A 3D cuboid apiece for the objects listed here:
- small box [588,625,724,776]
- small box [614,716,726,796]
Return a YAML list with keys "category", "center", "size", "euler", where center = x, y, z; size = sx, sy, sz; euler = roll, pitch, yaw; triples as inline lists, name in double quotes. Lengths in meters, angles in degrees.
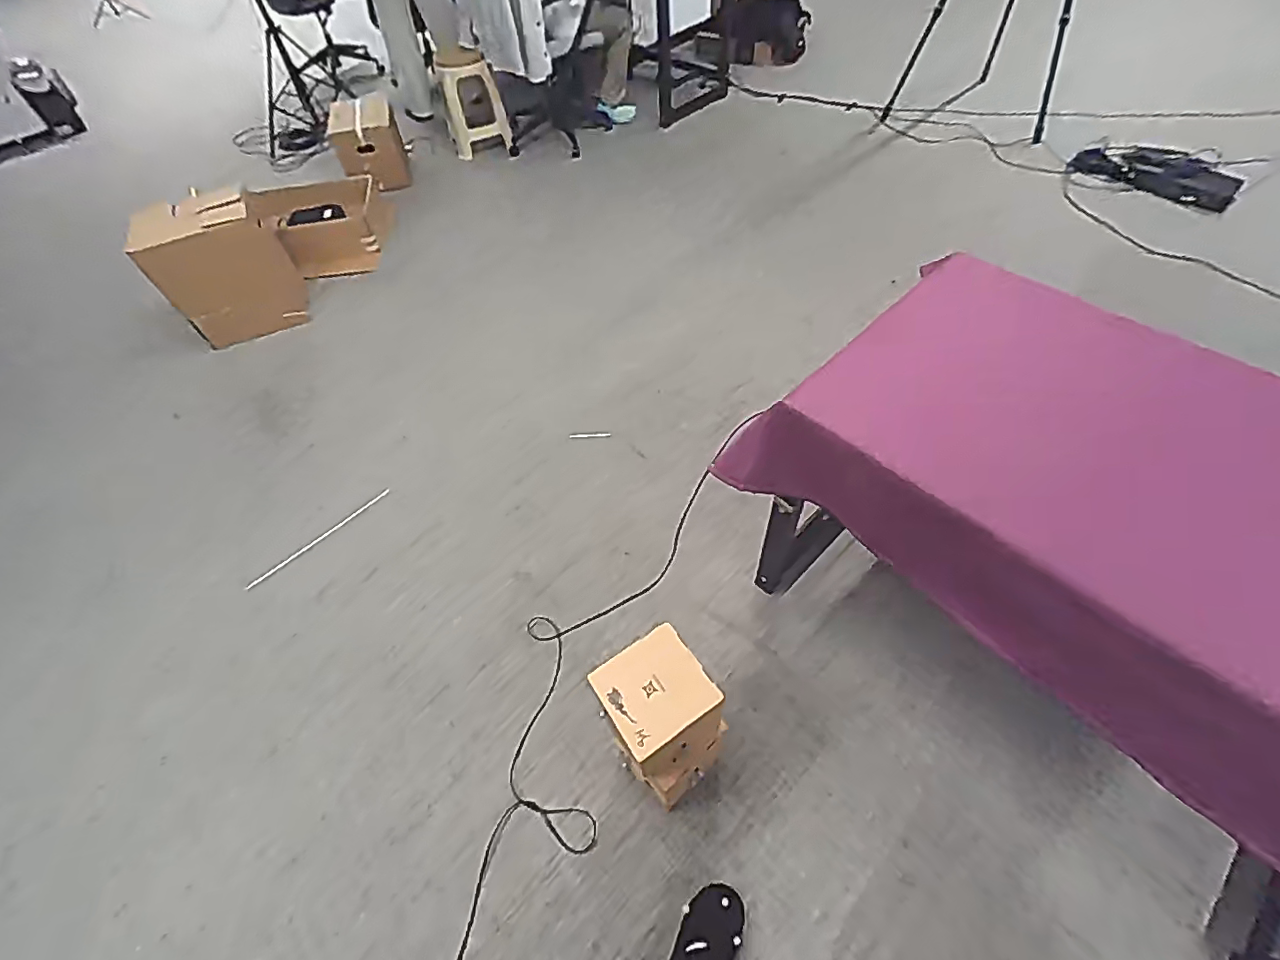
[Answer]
- category: "small box"
  center: [0.027, 0.398, 0.973]
  size: [0.179, 0.176, 0.168]
  euler: [-30, 57, -17]
- category: "small box"
  center: [0.051, 0.508, 1.096]
  size: [0.168, 0.176, 0.179]
  euler: [-37, 60, -20]
